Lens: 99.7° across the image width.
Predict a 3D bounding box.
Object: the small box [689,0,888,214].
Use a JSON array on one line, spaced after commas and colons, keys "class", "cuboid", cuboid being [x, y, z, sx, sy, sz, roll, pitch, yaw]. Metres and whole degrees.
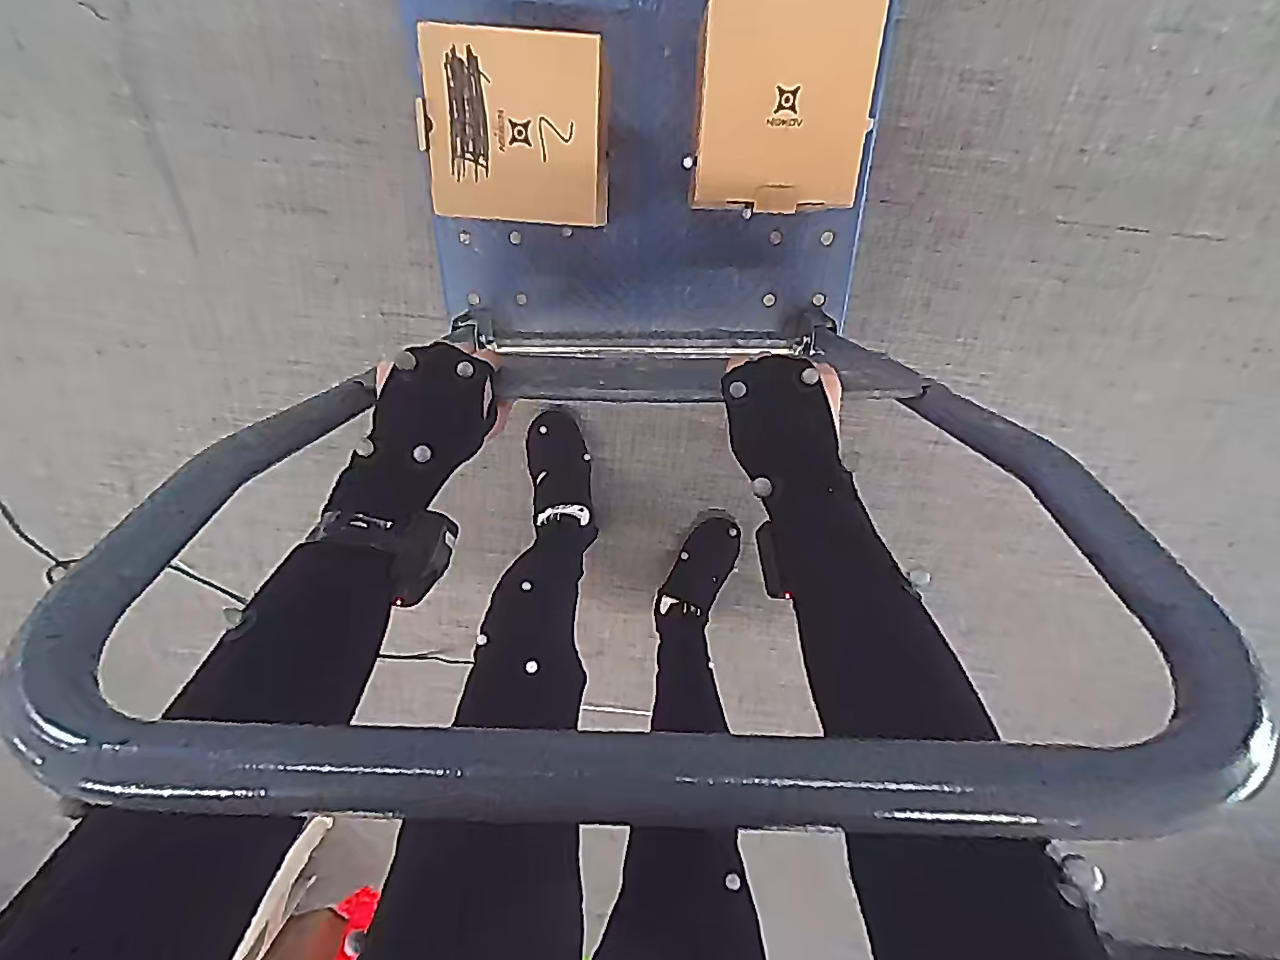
[{"class": "small box", "cuboid": [0.145, -0.397, 0.600, 0.168, 0.176, 0.179, 2, 117, 1]}]
